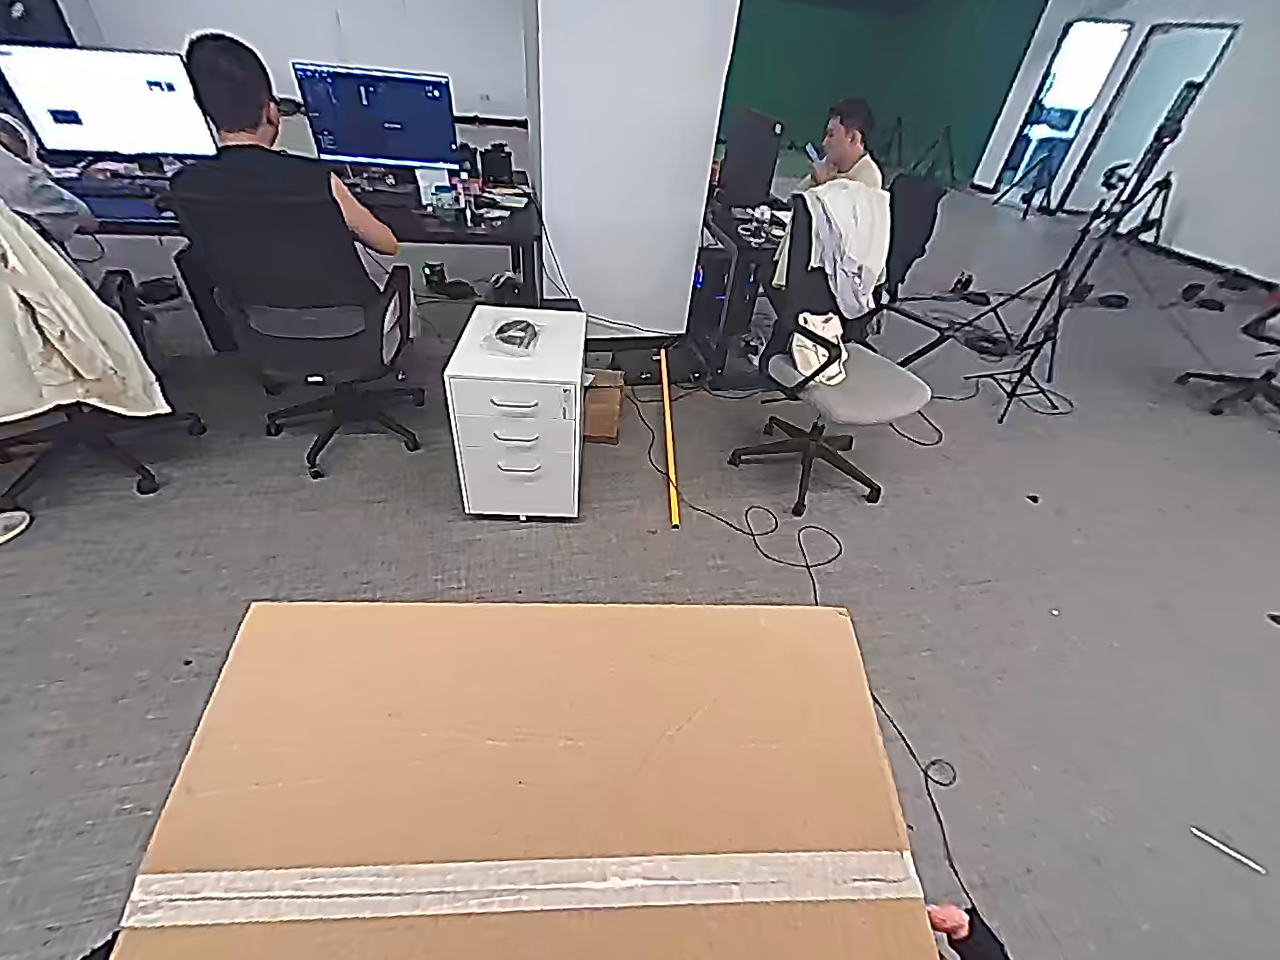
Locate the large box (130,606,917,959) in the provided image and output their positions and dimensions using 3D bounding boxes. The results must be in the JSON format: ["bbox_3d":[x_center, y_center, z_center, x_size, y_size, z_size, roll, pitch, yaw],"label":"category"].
[{"bbox_3d":[-0.063,0.301,0.416,0.408,0.320,0.320,1,55,-4],"label":"large box"}]
